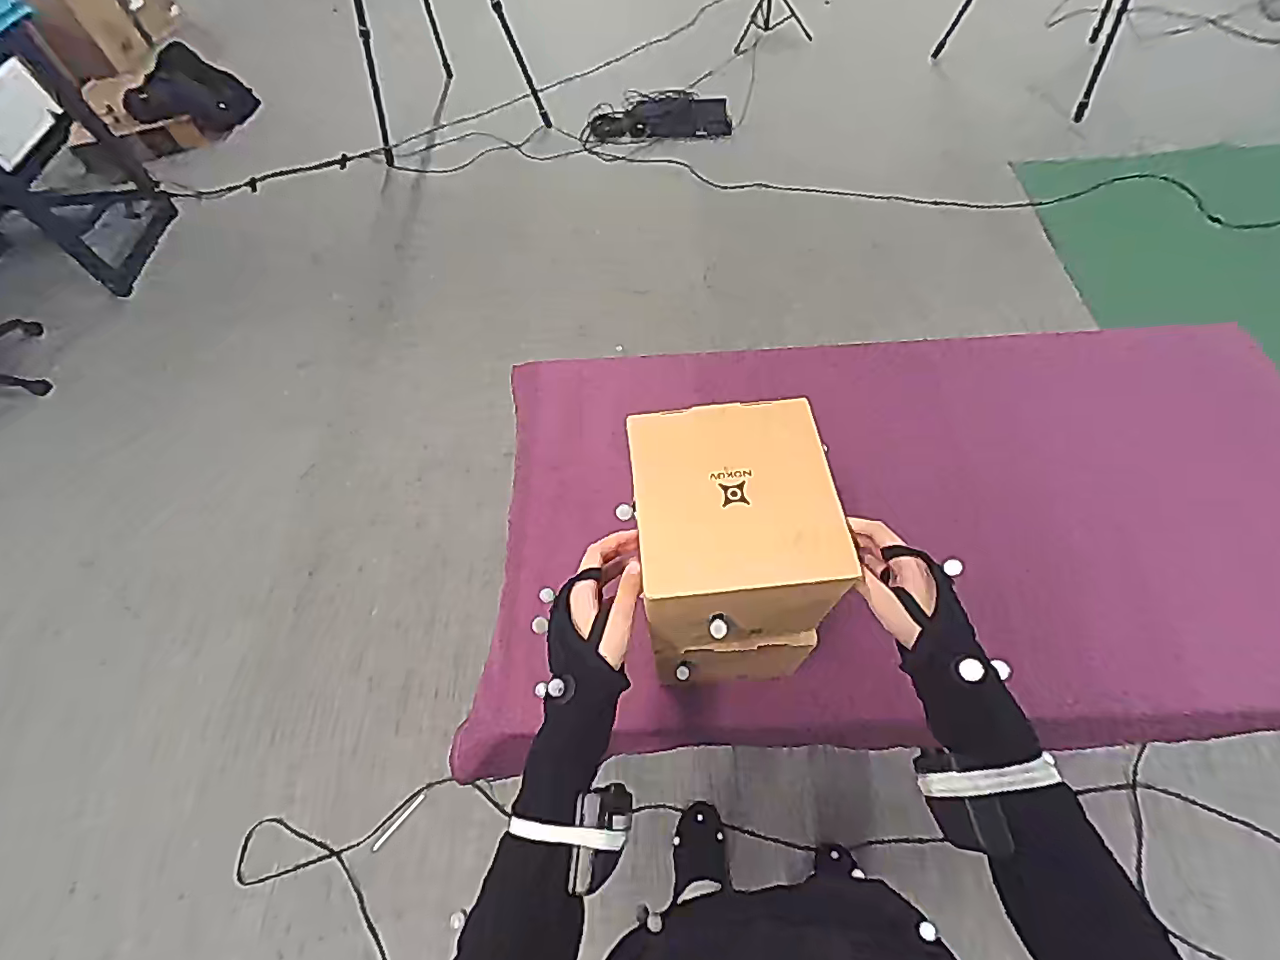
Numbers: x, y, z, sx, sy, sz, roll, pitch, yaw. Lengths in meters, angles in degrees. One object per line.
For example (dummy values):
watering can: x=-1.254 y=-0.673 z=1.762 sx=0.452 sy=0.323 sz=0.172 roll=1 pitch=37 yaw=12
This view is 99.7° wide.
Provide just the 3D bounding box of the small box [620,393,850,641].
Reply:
small box: x=0.075 y=0.045 z=0.511 sx=0.168 sy=0.176 sz=0.179 roll=-6 pitch=58 yaw=0
